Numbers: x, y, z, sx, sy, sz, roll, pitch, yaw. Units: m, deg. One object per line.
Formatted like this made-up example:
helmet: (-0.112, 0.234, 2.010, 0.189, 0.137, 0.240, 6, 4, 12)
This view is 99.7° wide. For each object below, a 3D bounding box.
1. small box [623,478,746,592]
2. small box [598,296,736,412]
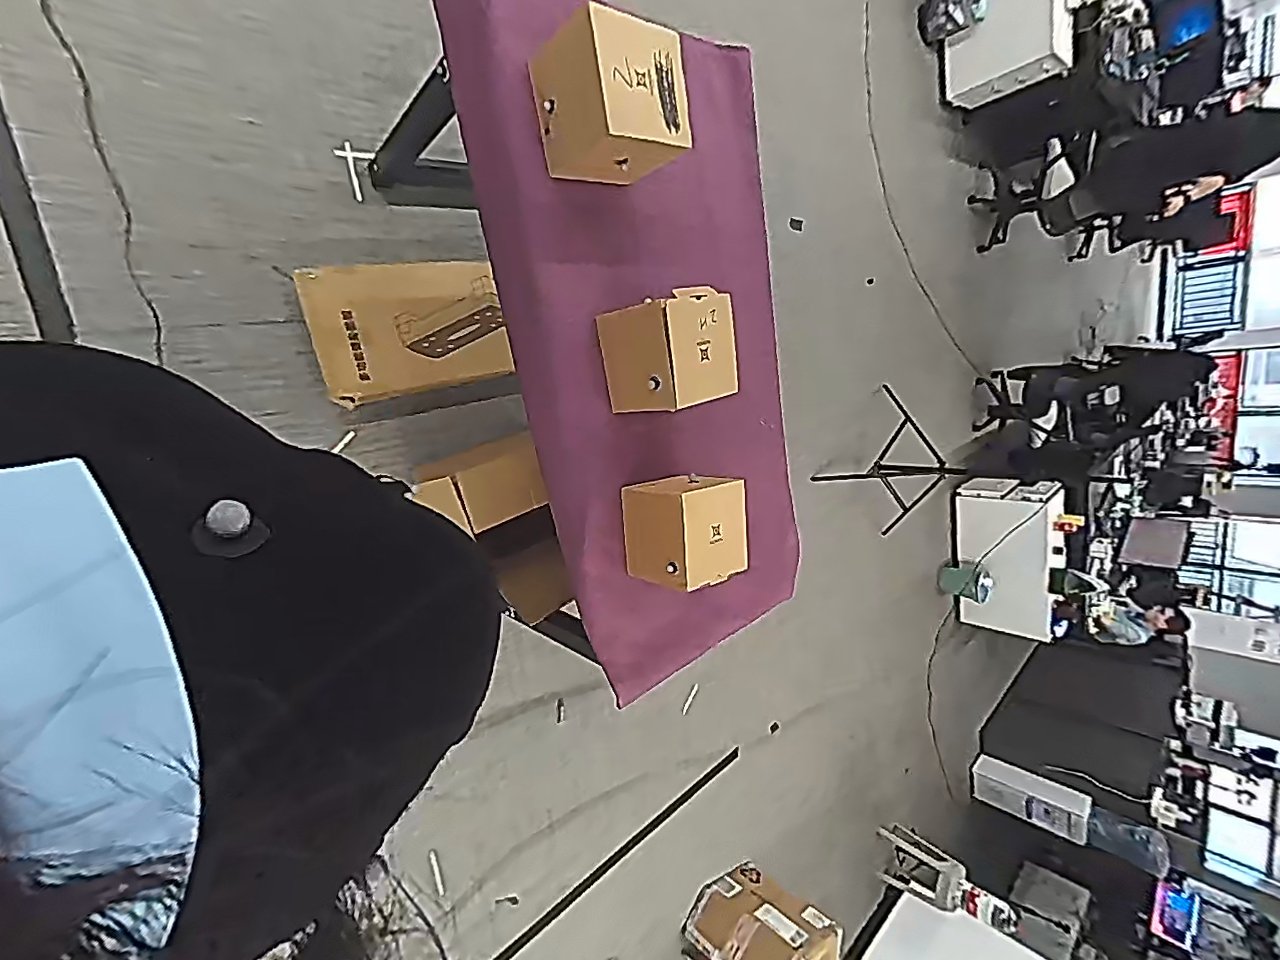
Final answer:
small box: (0.081, 0.091, 1.020, 0.168, 0.176, 0.179, -11, 101, -40)
small box: (0.047, -0.220, 0.963, 0.168, 0.176, 0.179, -21, 107, -40)
